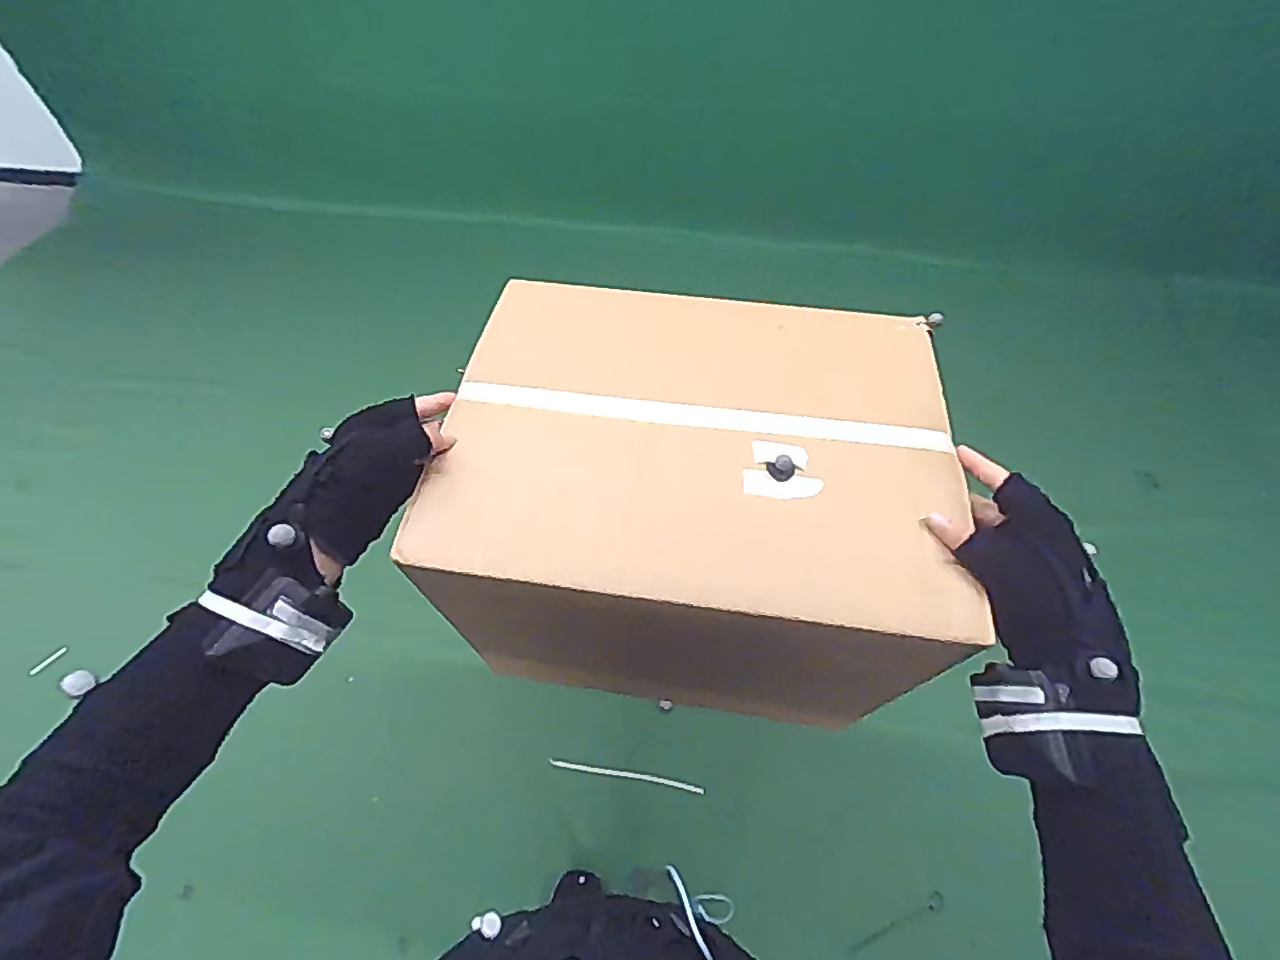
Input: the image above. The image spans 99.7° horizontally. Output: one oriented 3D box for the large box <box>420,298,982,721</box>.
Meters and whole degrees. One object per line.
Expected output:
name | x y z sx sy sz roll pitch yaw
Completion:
large box | 0.052 0.042 0.581 0.408 0.320 0.320 7 57 4
